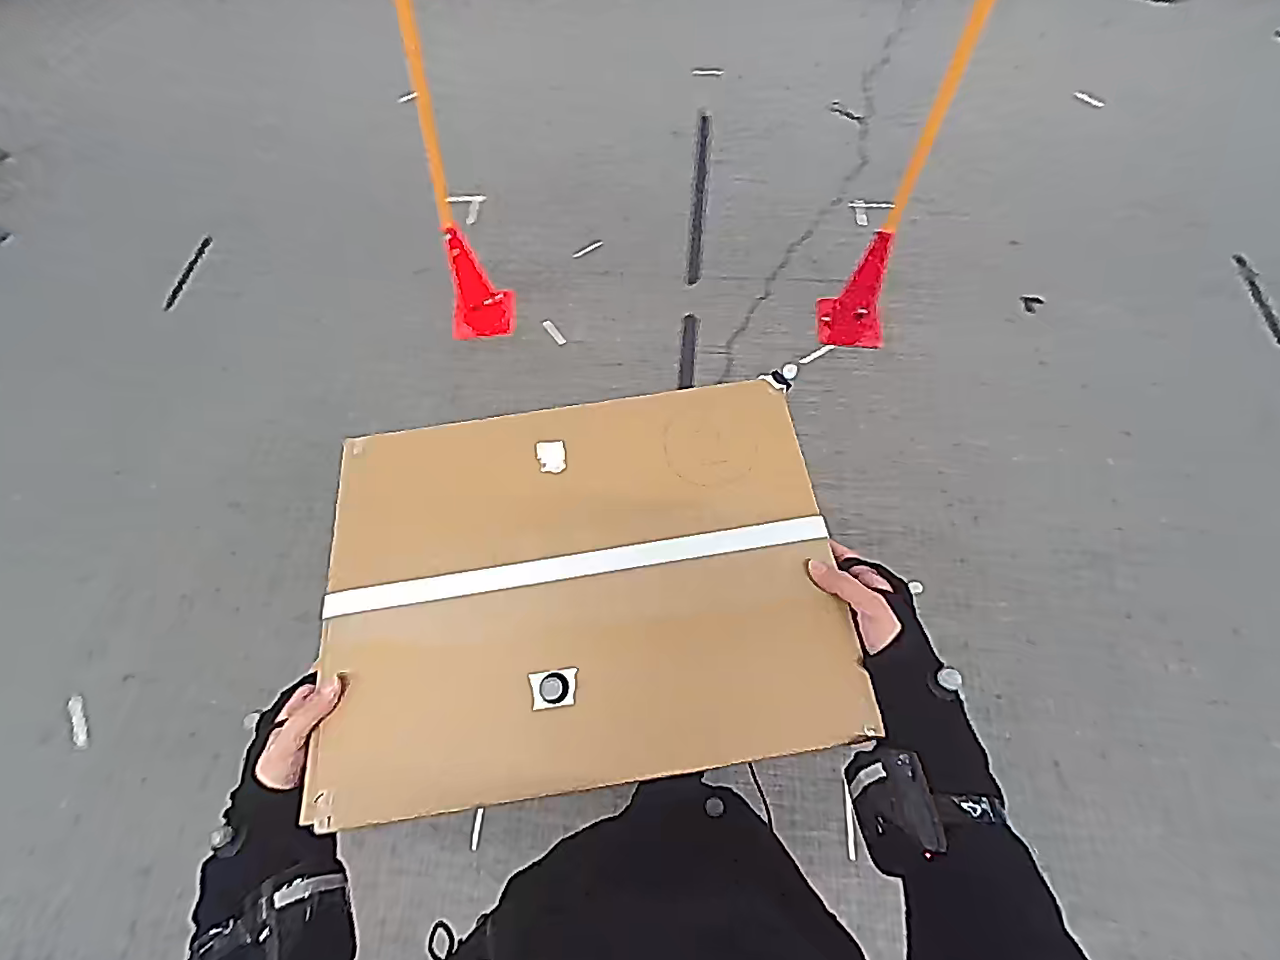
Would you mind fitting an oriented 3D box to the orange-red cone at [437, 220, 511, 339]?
[{"bbox_3d":[-0.544,-0.633,1.666,0.199,0.360,0.198,-5,63,1],"label":"orange-red cone"}]
